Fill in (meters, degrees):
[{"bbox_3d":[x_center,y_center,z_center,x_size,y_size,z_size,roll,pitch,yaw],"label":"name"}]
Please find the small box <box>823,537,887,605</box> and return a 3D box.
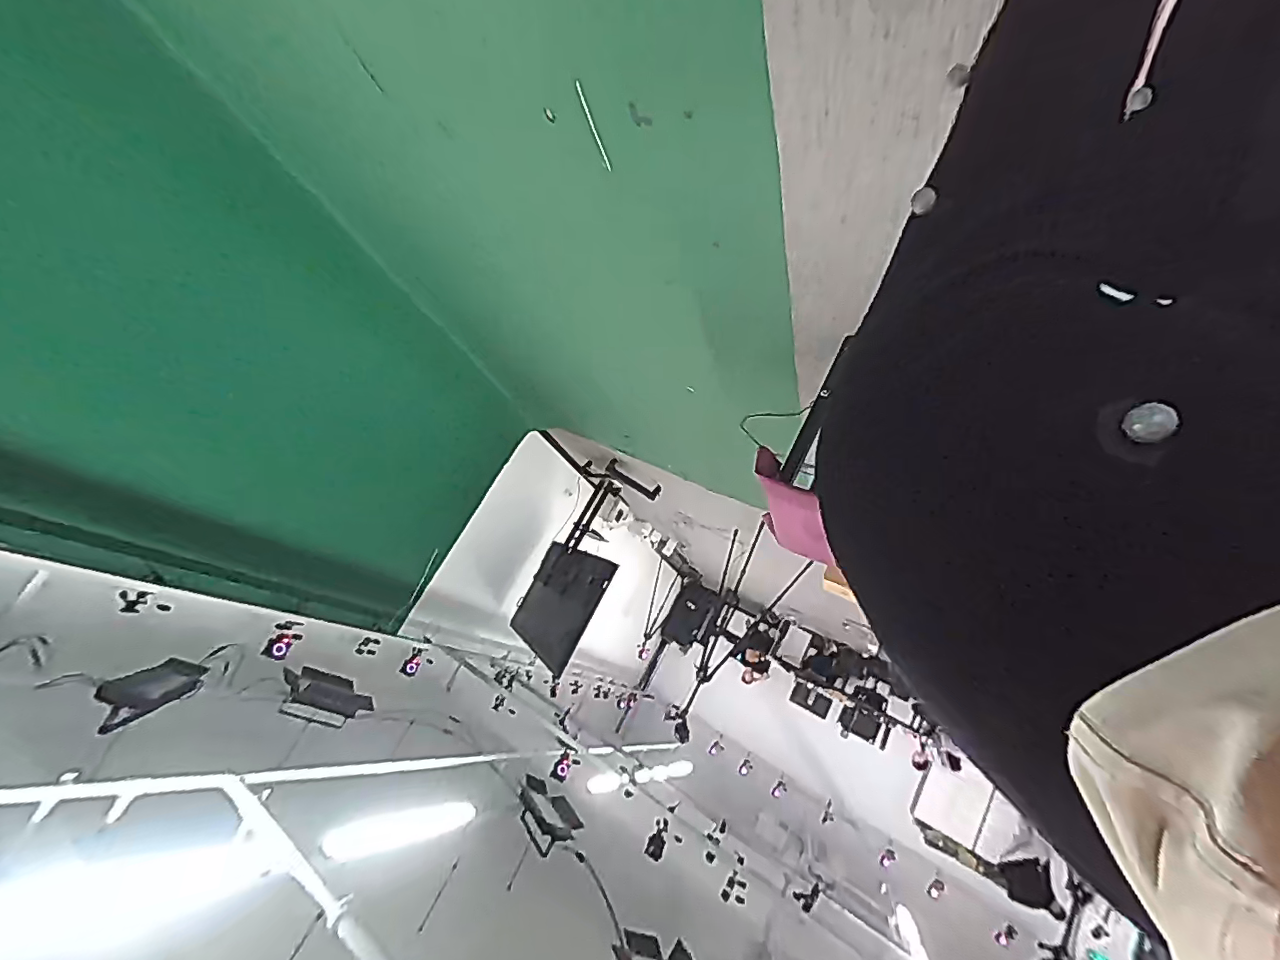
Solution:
[{"bbox_3d":[0.779,0.329,1.959,0.168,0.176,0.179,23,165,25],"label":"small box"}]
